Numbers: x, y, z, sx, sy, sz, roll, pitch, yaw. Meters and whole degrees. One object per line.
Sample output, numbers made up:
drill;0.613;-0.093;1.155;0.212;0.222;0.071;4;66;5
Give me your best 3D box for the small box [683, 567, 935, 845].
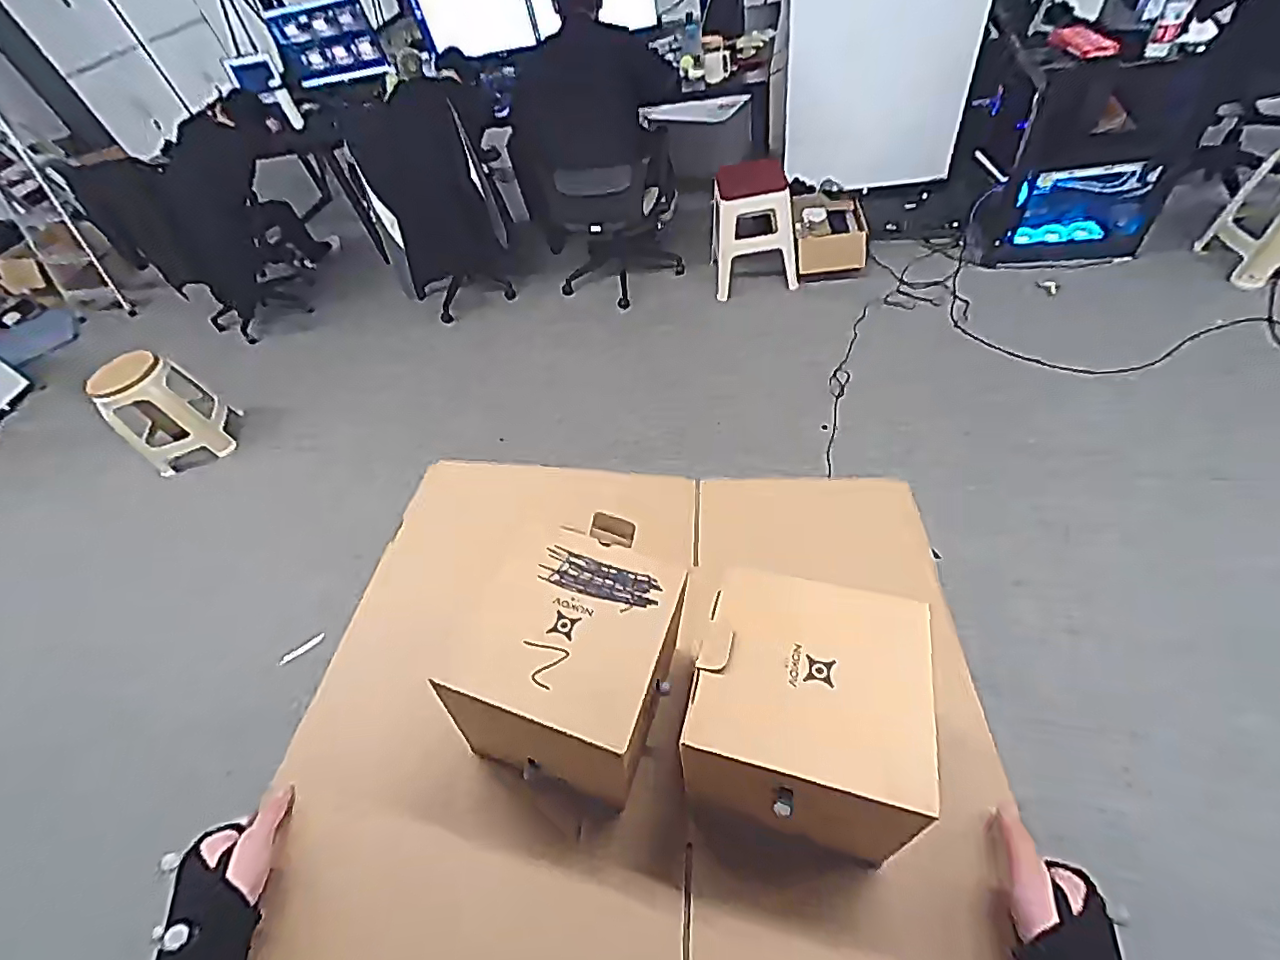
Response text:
small box;0.146;0.206;0.490;0.179;0.176;0.168;8;49;16
